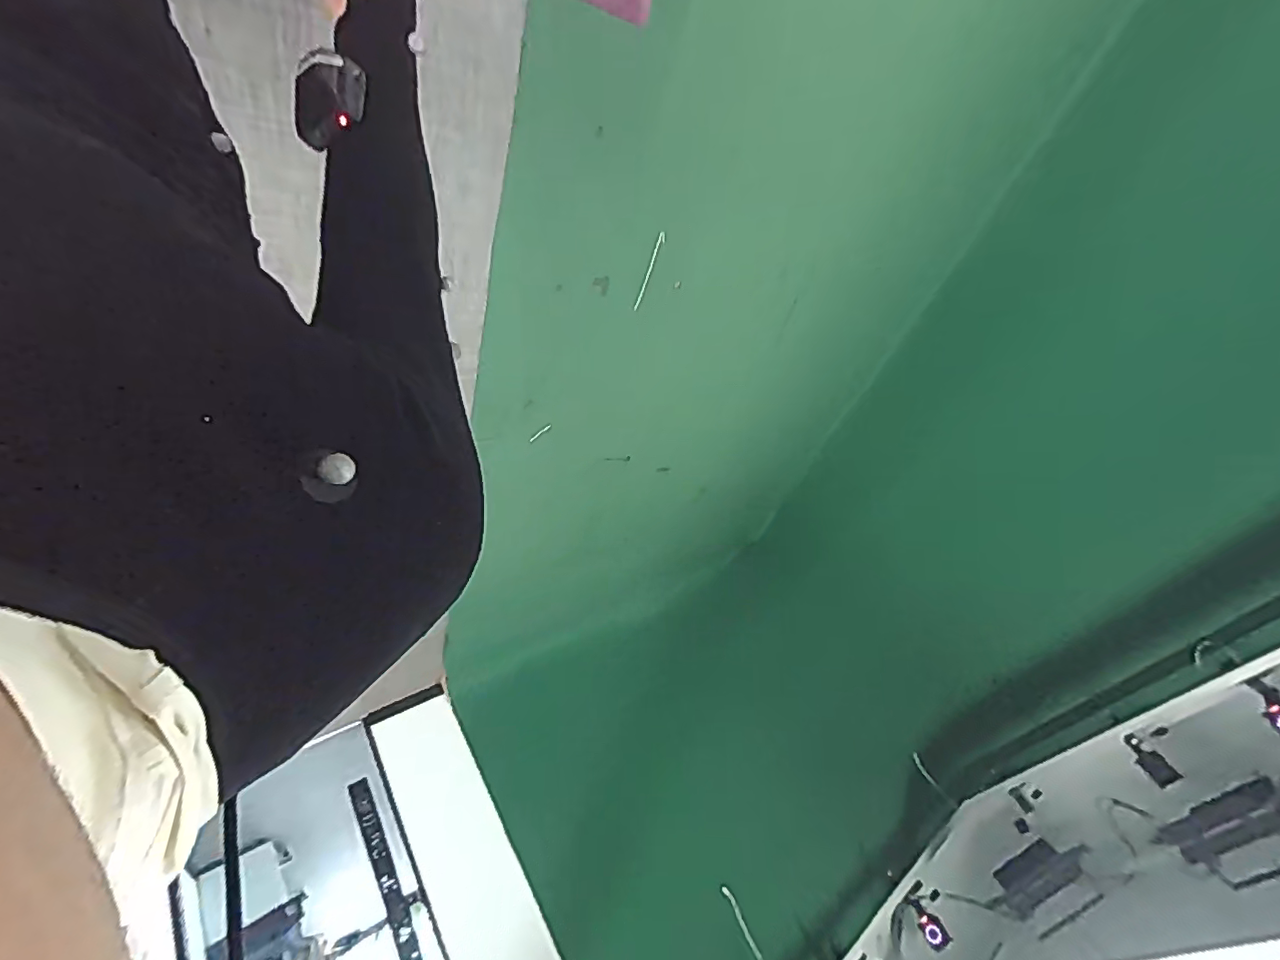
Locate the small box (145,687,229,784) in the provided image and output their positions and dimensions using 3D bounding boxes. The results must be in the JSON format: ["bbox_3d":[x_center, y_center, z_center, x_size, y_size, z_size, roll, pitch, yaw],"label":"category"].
[{"bbox_3d":[-1.292,0.718,1.544,0.168,0.176,0.179,-8,139,-42],"label":"small box"}]
